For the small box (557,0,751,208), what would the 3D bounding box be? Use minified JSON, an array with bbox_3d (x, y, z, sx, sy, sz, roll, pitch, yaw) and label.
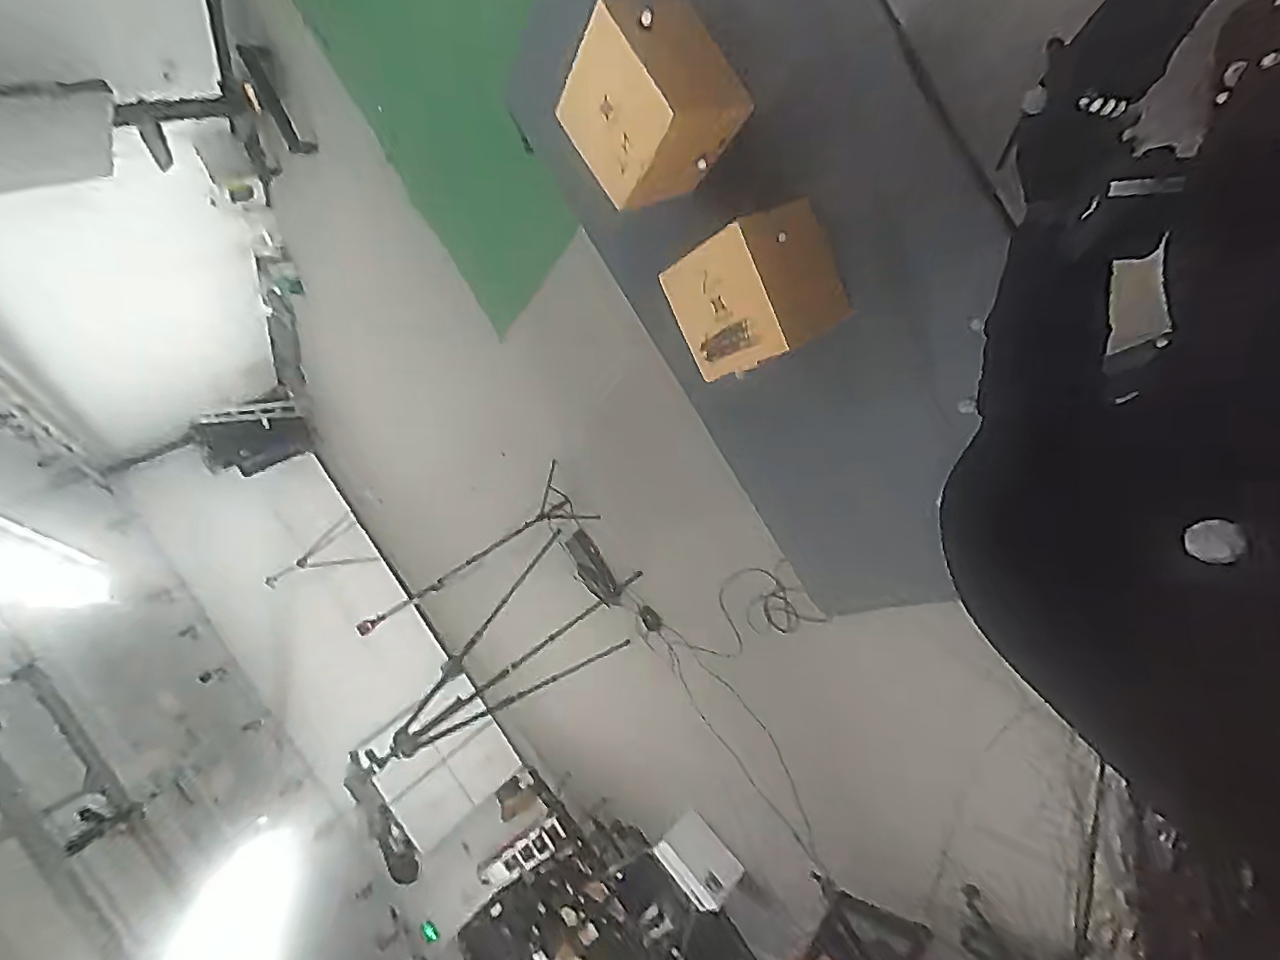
[{"bbox_3d":[0.019,-0.524,0.763,0.179,0.176,0.168,57,147,0],"label":"small box"}]
